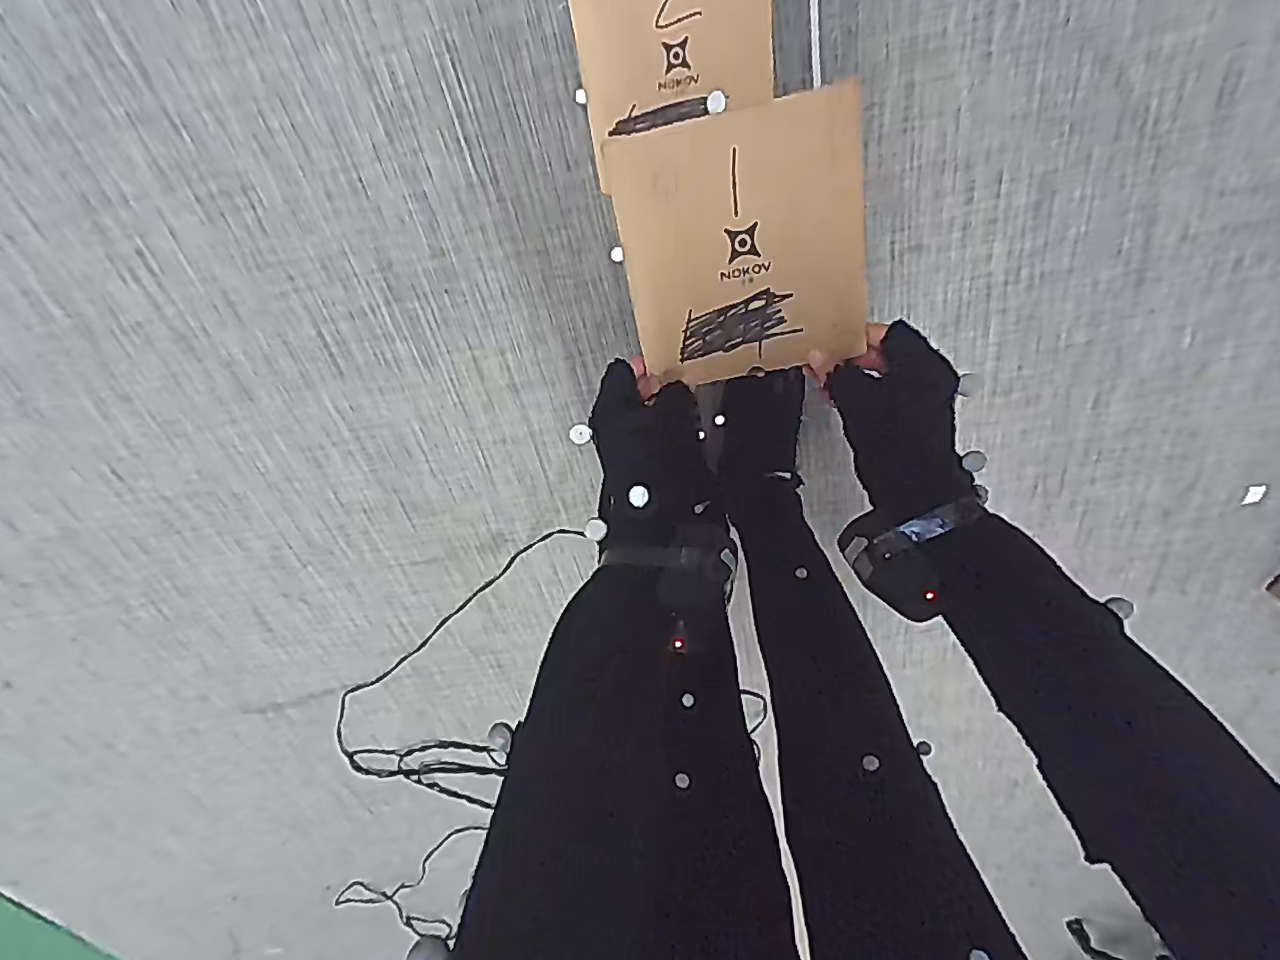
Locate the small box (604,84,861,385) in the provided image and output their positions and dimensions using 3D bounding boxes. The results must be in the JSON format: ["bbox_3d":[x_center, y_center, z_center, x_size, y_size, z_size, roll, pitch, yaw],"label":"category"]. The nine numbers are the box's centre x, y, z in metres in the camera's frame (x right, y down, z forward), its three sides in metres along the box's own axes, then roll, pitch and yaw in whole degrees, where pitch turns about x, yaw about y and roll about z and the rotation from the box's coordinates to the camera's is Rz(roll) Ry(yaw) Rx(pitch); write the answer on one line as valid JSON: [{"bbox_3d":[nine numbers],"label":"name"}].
[{"bbox_3d":[0.074,-0.202,0.452,0.168,0.176,0.179,-9,120,7],"label":"small box"}]
